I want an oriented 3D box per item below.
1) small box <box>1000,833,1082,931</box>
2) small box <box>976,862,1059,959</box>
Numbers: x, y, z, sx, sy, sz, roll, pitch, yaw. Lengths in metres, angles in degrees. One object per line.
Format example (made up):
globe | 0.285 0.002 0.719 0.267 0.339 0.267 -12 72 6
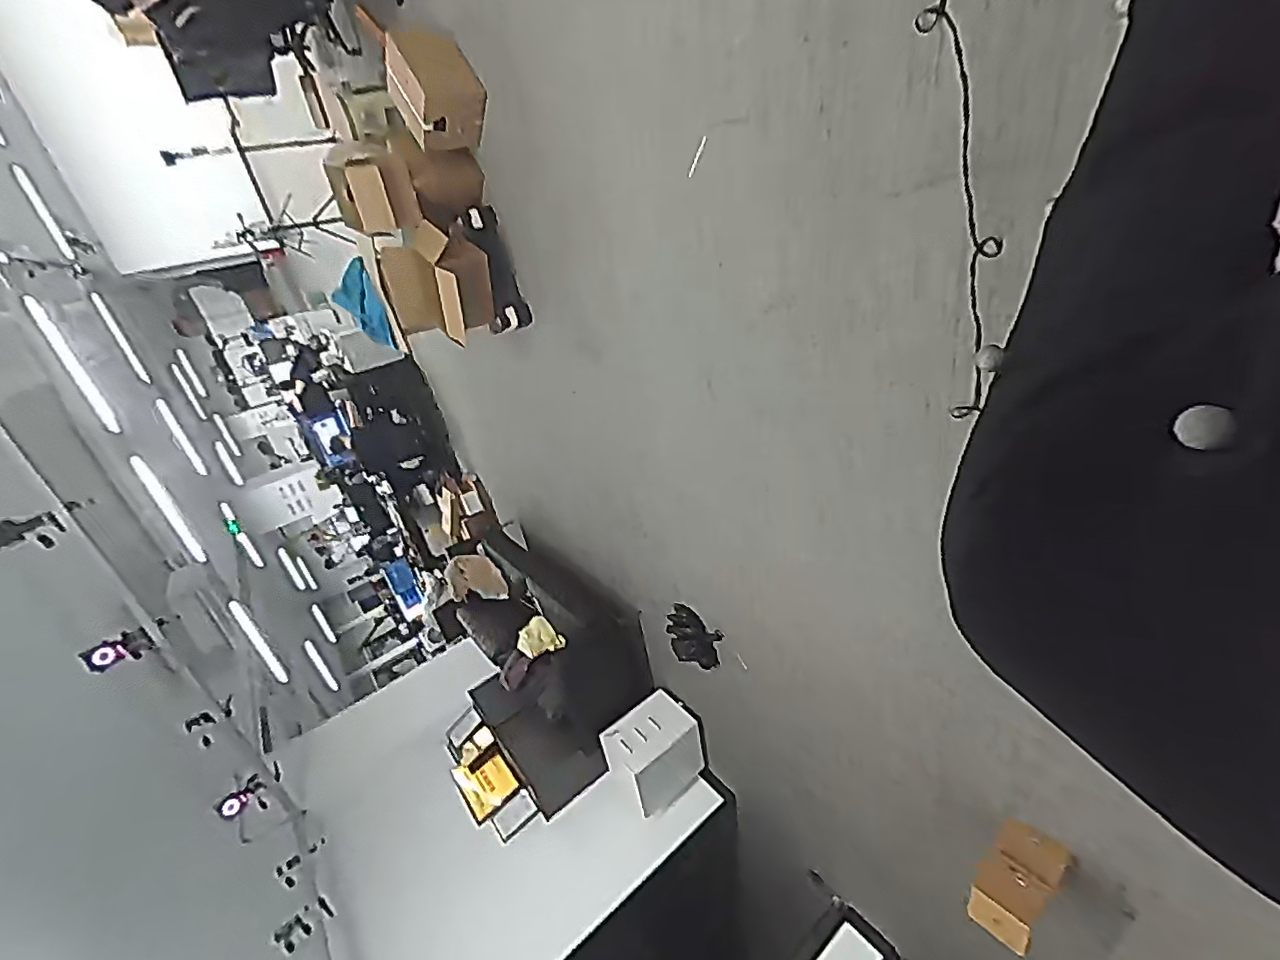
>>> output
small box | 1.330 1.330 1.808 0.179 0.176 0.168 23 132 49
small box | 1.201 1.381 1.720 0.168 0.176 0.179 20 128 48
